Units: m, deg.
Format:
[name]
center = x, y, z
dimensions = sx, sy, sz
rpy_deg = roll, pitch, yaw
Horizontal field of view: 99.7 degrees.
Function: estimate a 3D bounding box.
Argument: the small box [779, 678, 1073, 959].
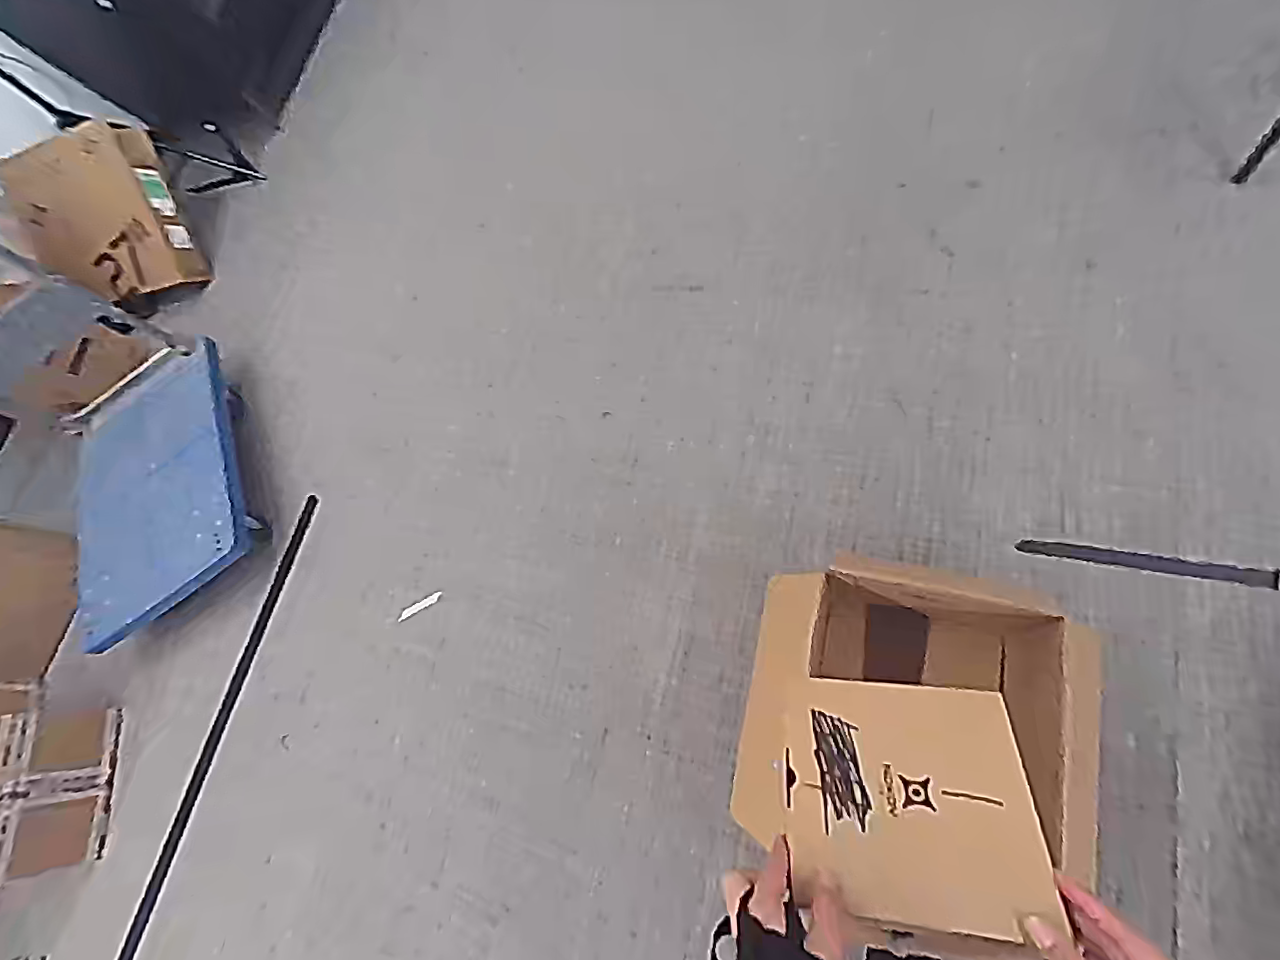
[small box]
center = 0.213, 0.288, 0.462
dimensions = 0.179, 0.176, 0.168
rpy_deg = -1, 46, 14
